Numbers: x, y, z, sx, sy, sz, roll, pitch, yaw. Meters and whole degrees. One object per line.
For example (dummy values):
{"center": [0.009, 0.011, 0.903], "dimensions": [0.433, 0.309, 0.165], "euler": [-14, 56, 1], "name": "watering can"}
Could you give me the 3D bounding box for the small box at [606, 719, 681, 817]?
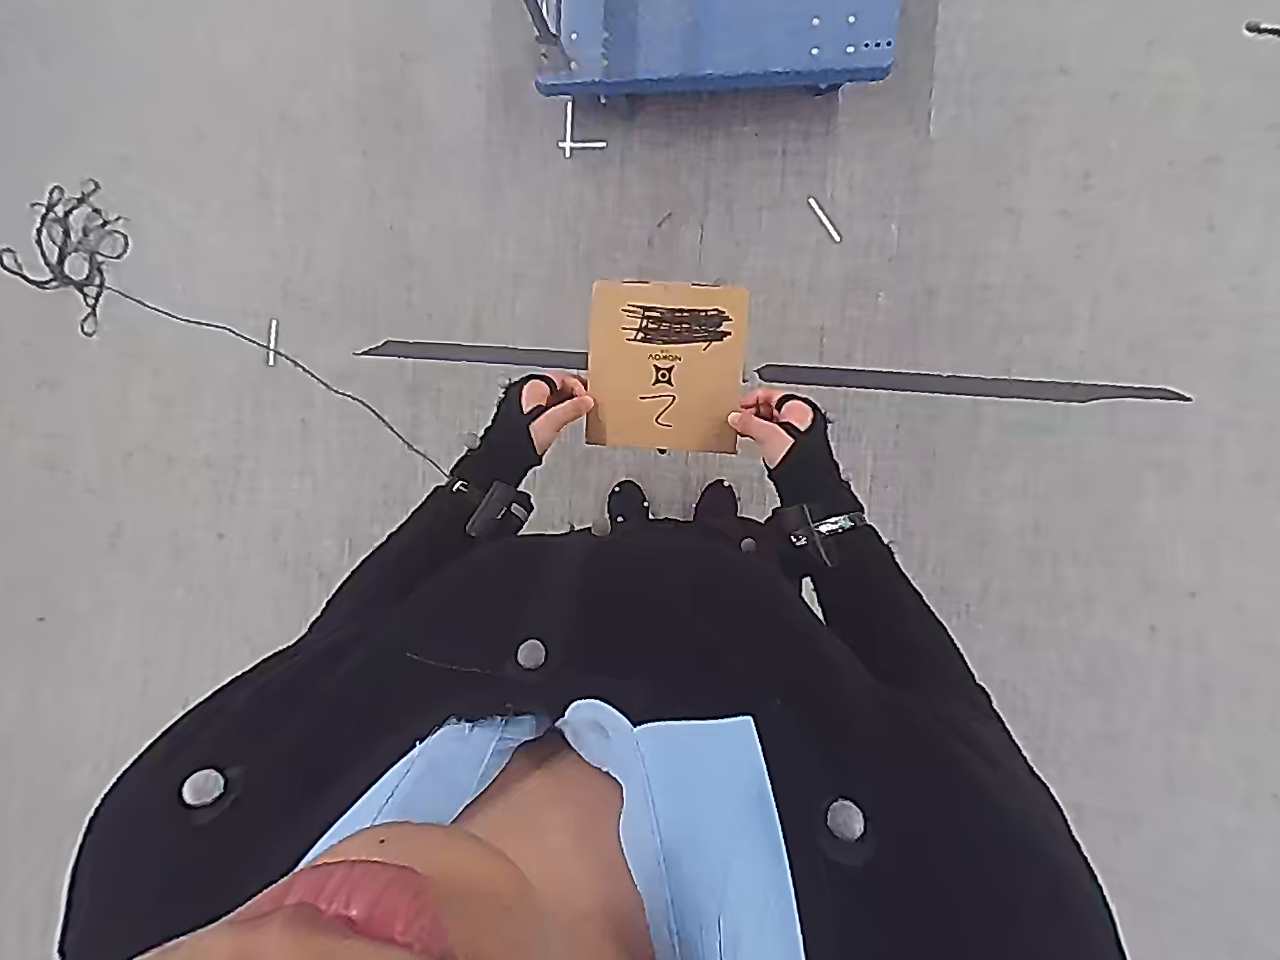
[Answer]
{"center": [0.015, 0.757, 1.422], "dimensions": [0.168, 0.176, 0.179], "euler": [-8, 89, 6], "name": "small box"}
